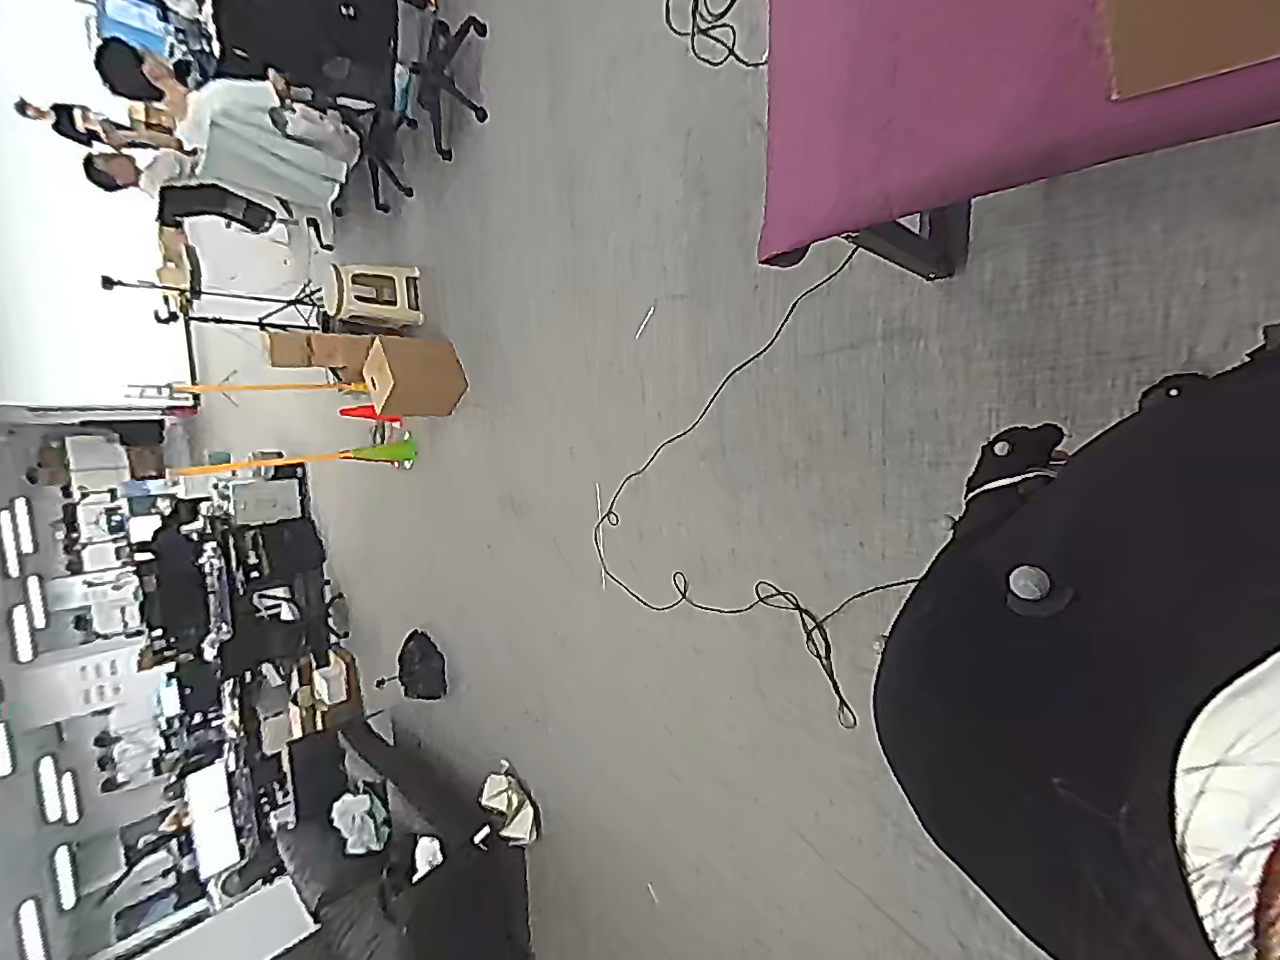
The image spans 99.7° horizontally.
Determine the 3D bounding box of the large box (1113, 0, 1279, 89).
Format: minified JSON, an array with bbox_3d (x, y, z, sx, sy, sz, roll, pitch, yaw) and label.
[{"bbox_3d":[0.516,-0.570,0.331,0.320,0.320,0.408,9,102,43],"label":"large box"}]
